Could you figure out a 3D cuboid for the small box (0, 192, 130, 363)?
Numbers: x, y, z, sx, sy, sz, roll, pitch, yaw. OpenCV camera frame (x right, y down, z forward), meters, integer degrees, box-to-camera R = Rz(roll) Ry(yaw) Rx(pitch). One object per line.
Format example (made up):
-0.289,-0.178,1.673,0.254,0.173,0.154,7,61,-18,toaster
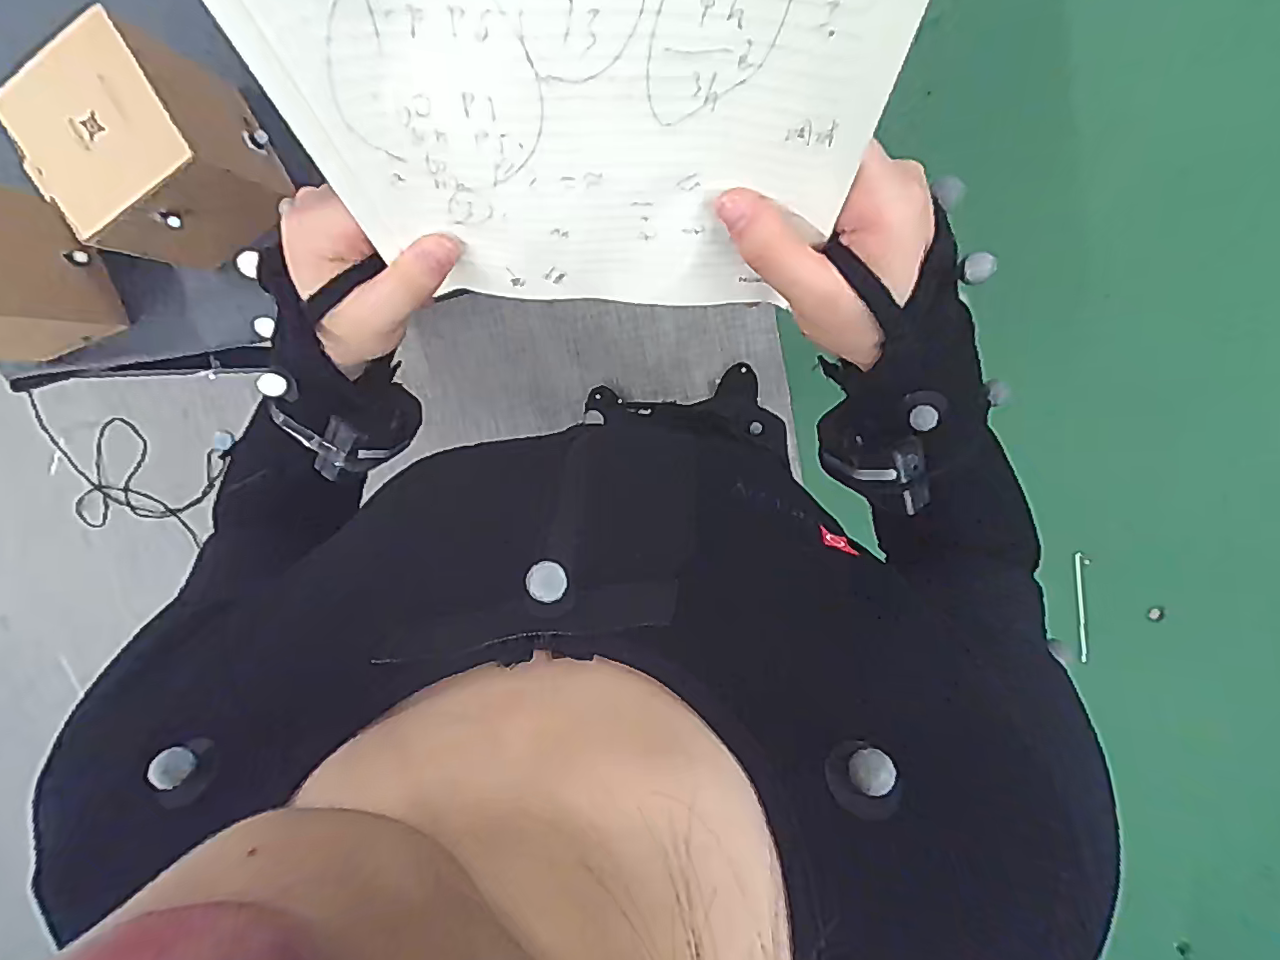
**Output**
-0.843,-0.260,0.704,0.168,0.176,0.179,-17,100,9,small box

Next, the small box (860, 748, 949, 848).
0.713,0.860,1.477,0.179,0.176,0.168,0,103,7,small box

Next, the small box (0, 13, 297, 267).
-0.570,-0.382,0.650,0.179,0.176,0.168,-28,98,10,small box

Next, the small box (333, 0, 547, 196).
-0.206,-0.434,0.595,0.168,0.176,0.179,4,102,6,small box
